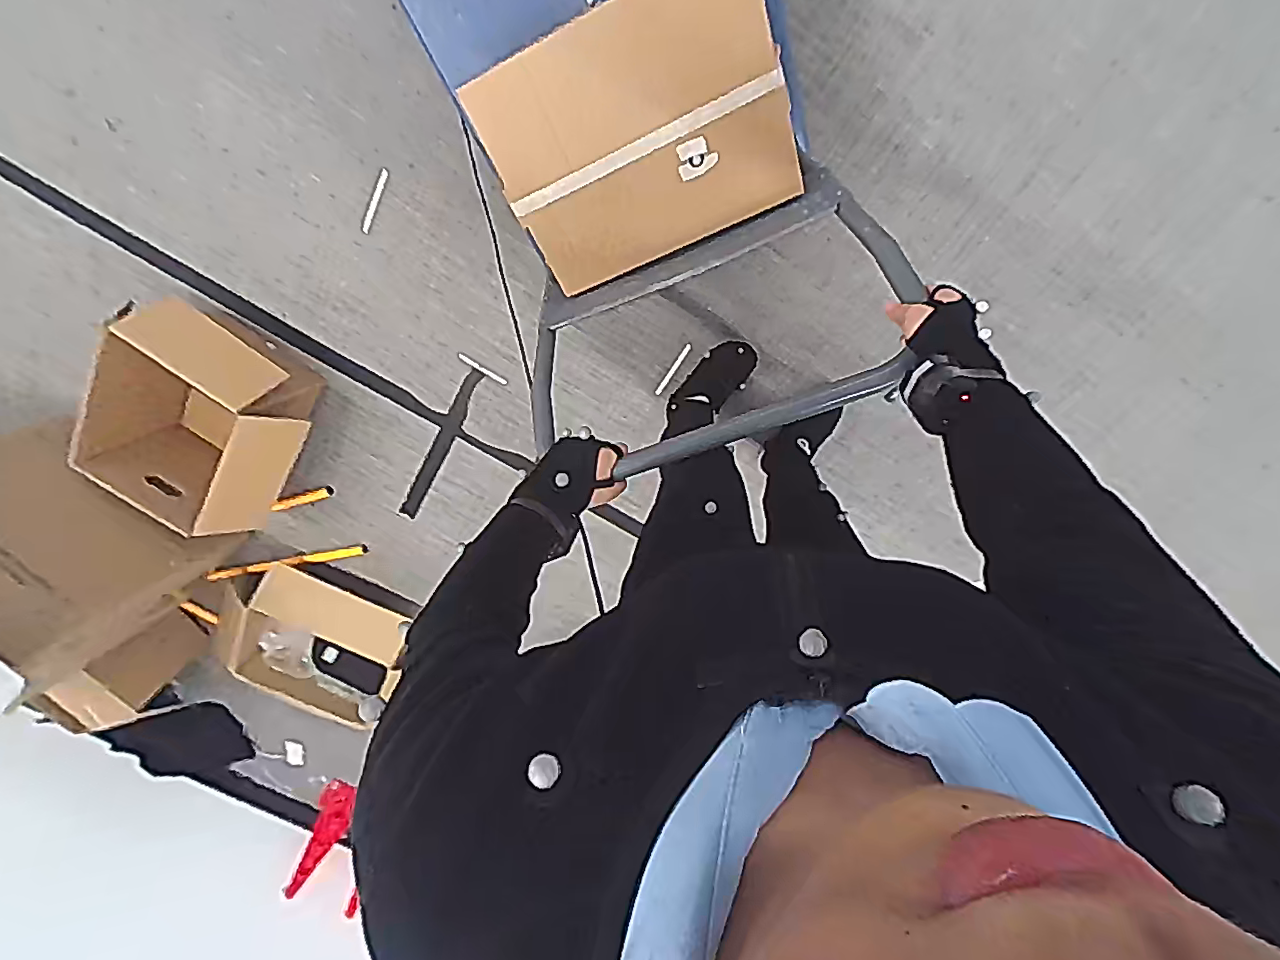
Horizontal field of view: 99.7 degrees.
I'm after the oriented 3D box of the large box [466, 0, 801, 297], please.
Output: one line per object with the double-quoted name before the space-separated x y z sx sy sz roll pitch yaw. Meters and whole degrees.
"large box" -0.004 -0.571 0.882 0.408 0.320 0.320 -20 131 13
